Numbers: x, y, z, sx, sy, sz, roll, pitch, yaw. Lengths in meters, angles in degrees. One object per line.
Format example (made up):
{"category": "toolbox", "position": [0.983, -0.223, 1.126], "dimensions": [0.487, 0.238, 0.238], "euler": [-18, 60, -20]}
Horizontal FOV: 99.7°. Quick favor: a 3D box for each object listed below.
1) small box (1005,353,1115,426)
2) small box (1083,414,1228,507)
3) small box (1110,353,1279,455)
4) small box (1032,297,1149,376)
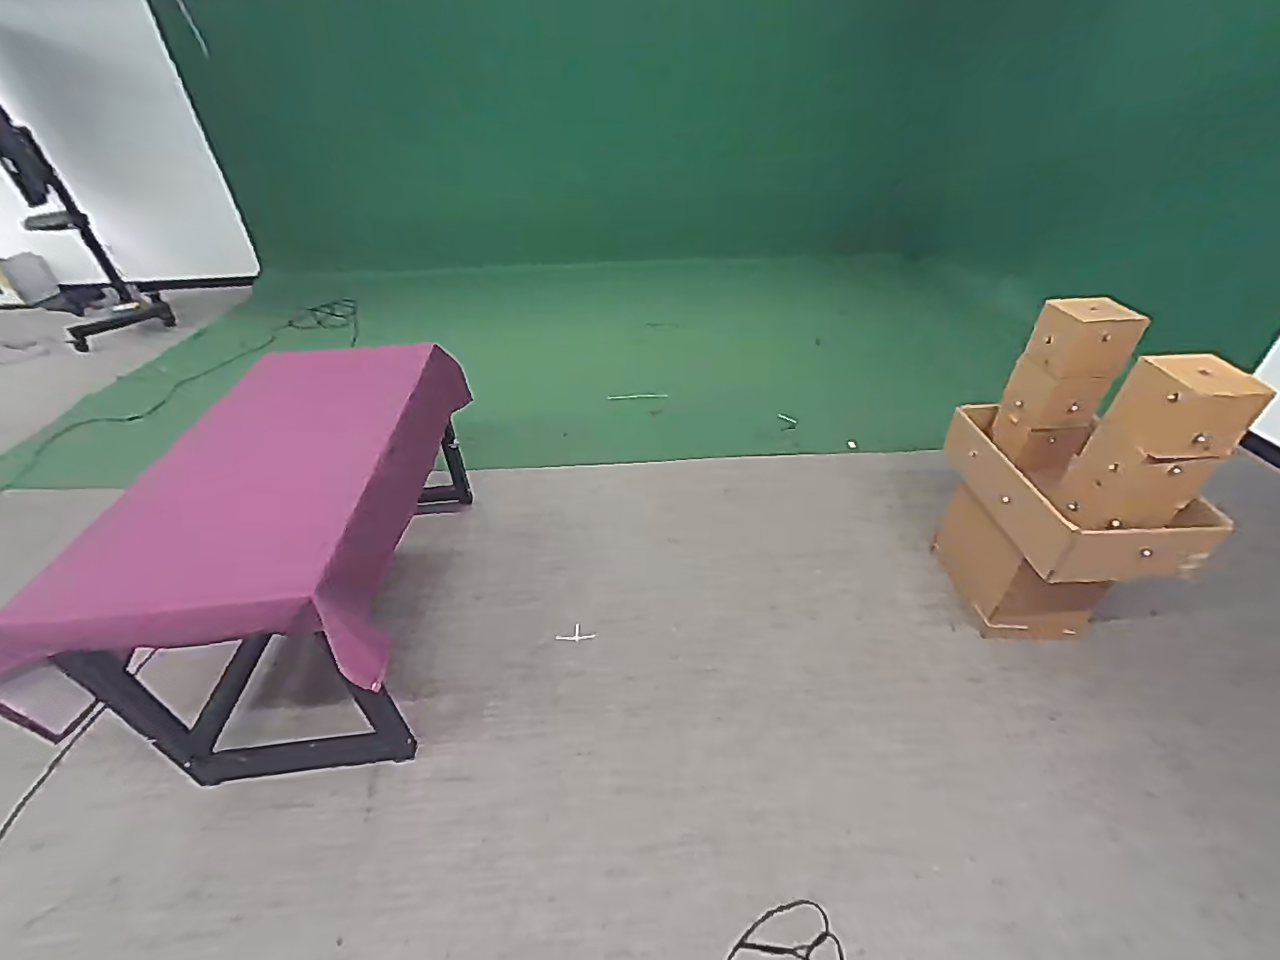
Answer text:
{"category": "small box", "position": [1.245, -0.271, 1.618], "dimensions": [0.168, 0.176, 0.179], "euler": [-3, 38, -1]}
{"category": "small box", "position": [1.242, -0.047, 1.326], "dimensions": [0.179, 0.176, 0.168], "euler": [2, 39, 5]}
{"category": "small box", "position": [1.233, -0.173, 1.223], "dimensions": [0.168, 0.176, 0.179], "euler": [-2, 40, 1]}
{"category": "small box", "position": [1.242, -0.400, 1.513], "dimensions": [0.179, 0.176, 0.168], "euler": [-2, 38, 1]}
